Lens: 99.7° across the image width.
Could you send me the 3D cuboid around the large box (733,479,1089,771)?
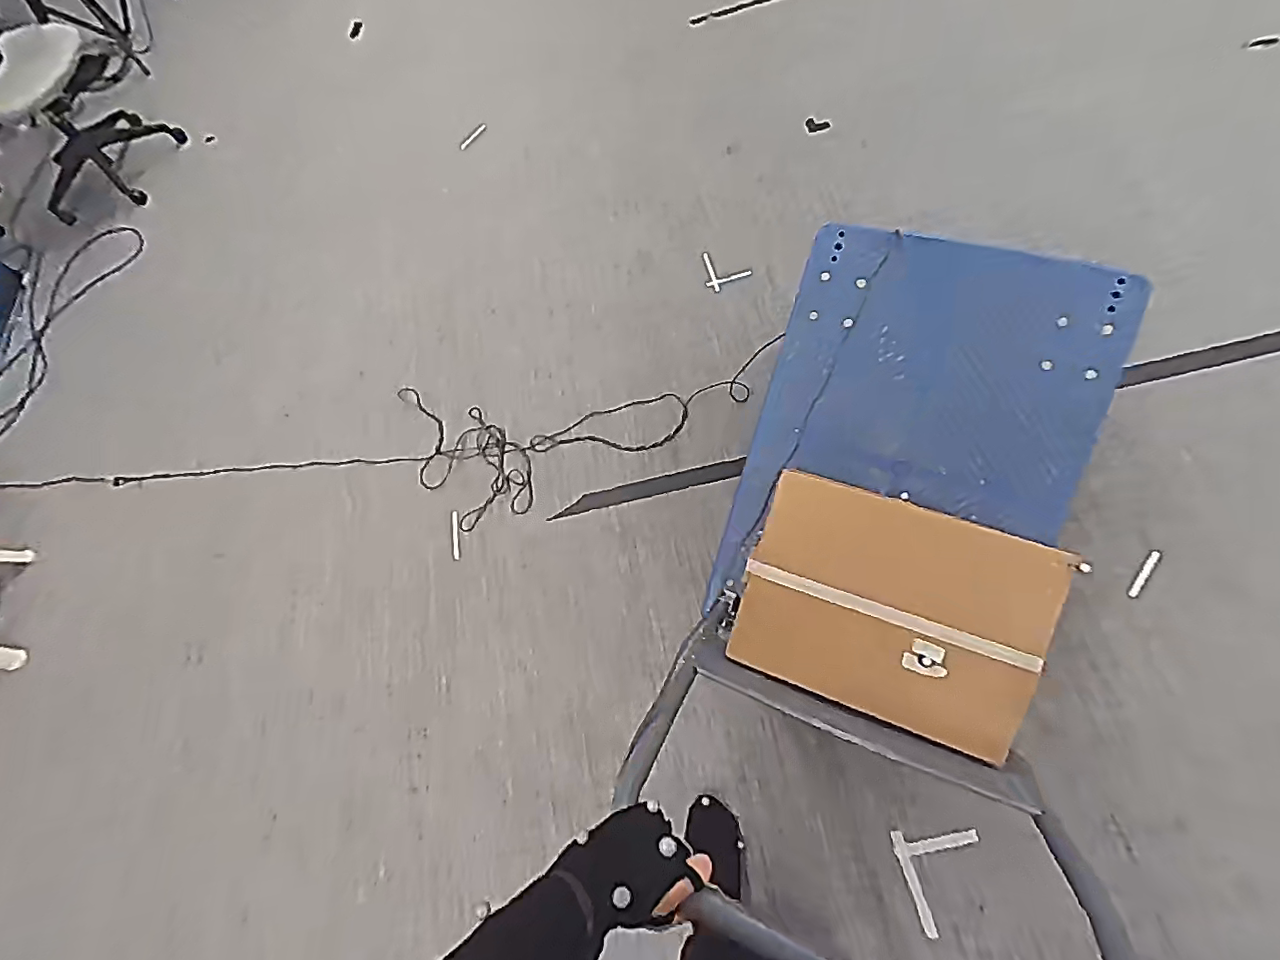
[{"bbox_3d":[0.404,0.194,0.911,0.408,0.320,0.320,18,97,16],"label":"large box"}]
